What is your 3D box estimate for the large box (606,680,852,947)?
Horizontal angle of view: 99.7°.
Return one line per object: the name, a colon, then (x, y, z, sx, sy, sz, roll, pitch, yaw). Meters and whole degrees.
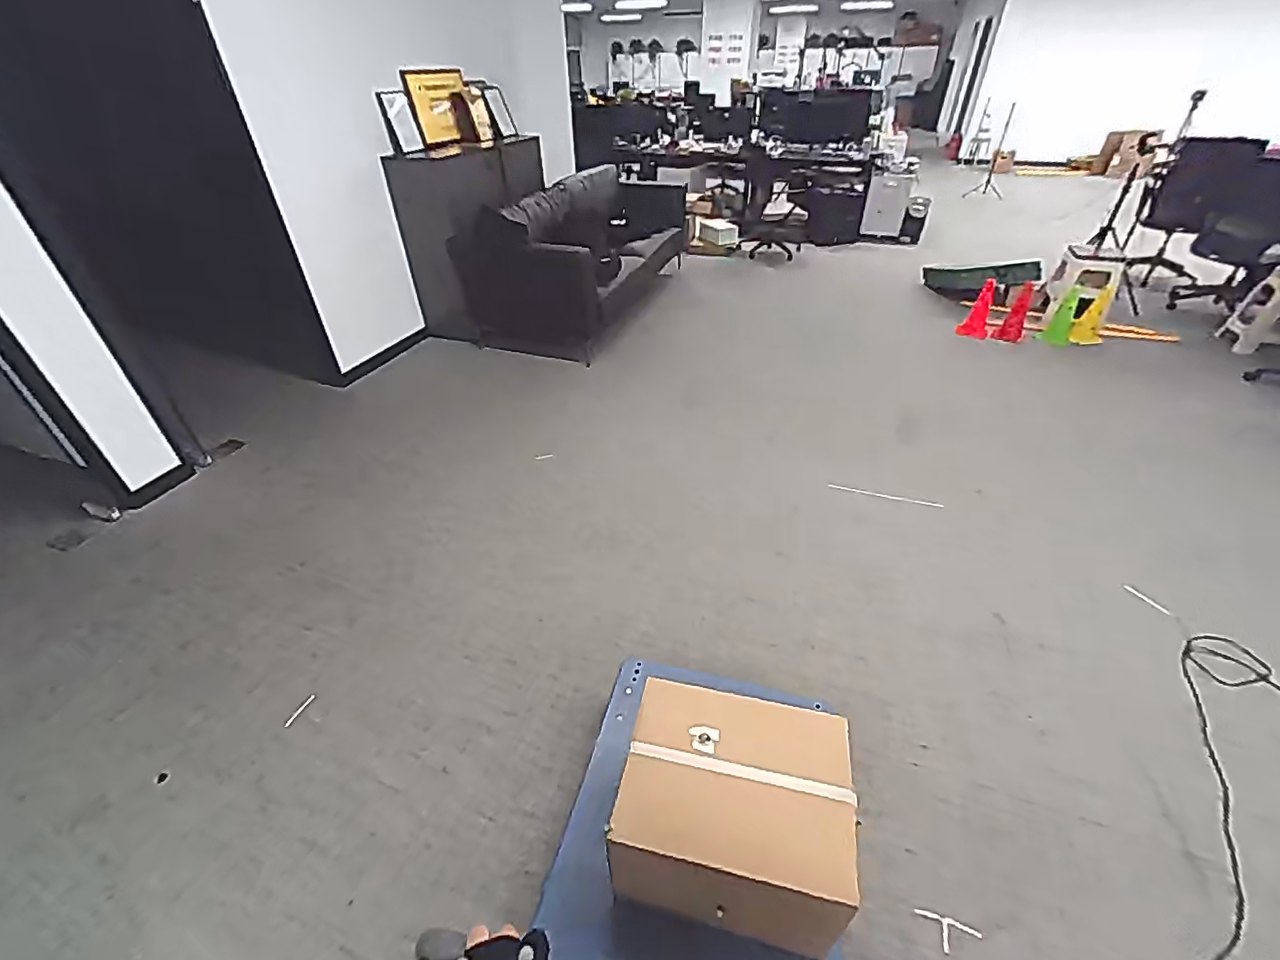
large box: (0.177, 0.652, 1.076, 0.408, 0.320, 0.320, 7, 38, 13)
